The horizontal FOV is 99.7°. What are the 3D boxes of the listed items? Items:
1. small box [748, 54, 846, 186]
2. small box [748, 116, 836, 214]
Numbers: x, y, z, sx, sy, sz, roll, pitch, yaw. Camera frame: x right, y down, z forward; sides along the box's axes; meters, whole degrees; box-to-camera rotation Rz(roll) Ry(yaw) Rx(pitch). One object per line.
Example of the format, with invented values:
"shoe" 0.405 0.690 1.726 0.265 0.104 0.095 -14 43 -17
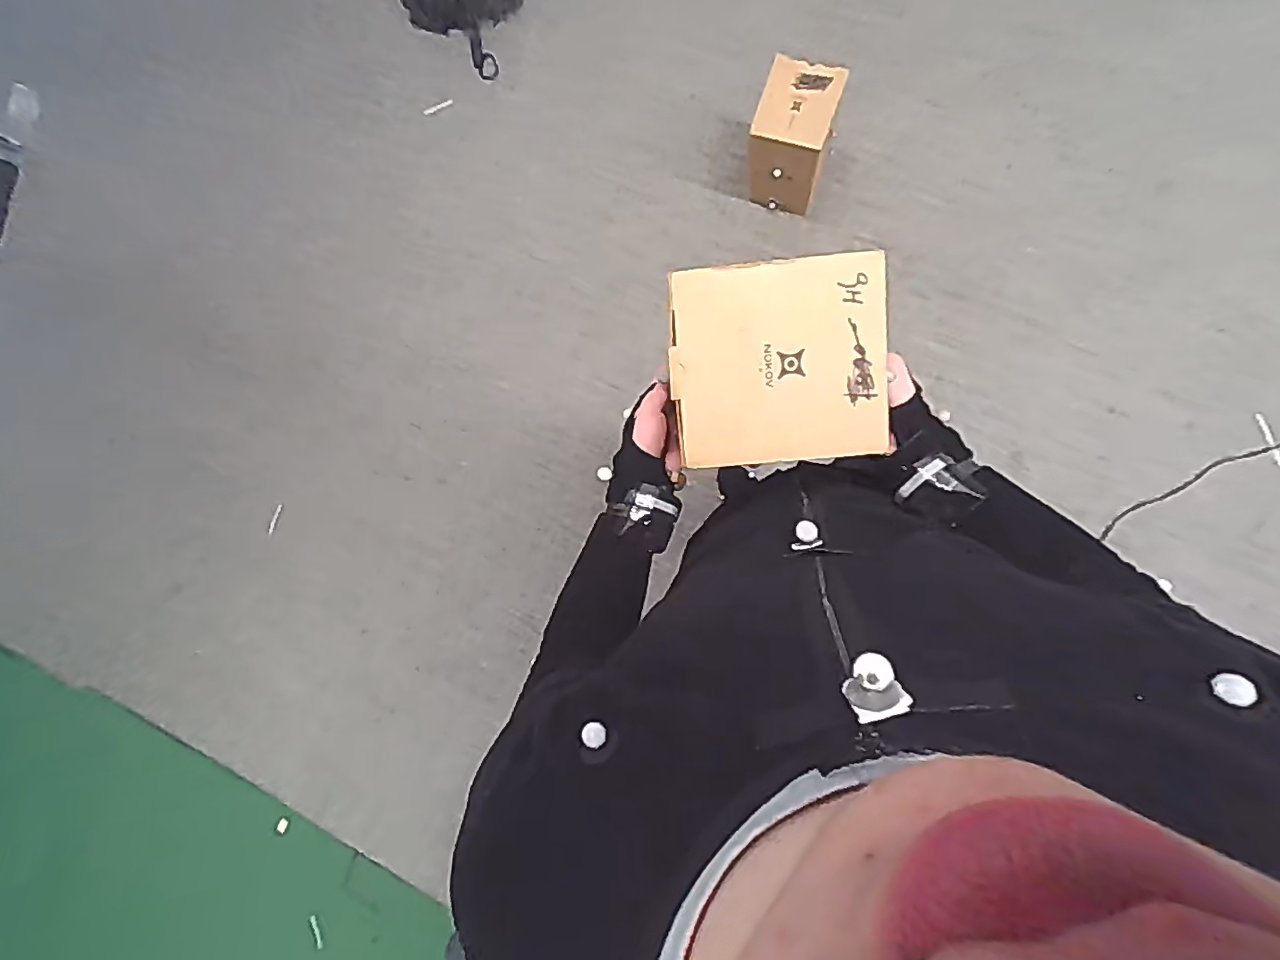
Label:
"small box" 0.354 -0.827 1.254 0.168 0.176 0.179 21 96 10
"small box" 0.389 -0.837 1.415 0.168 0.176 0.179 21 97 10
